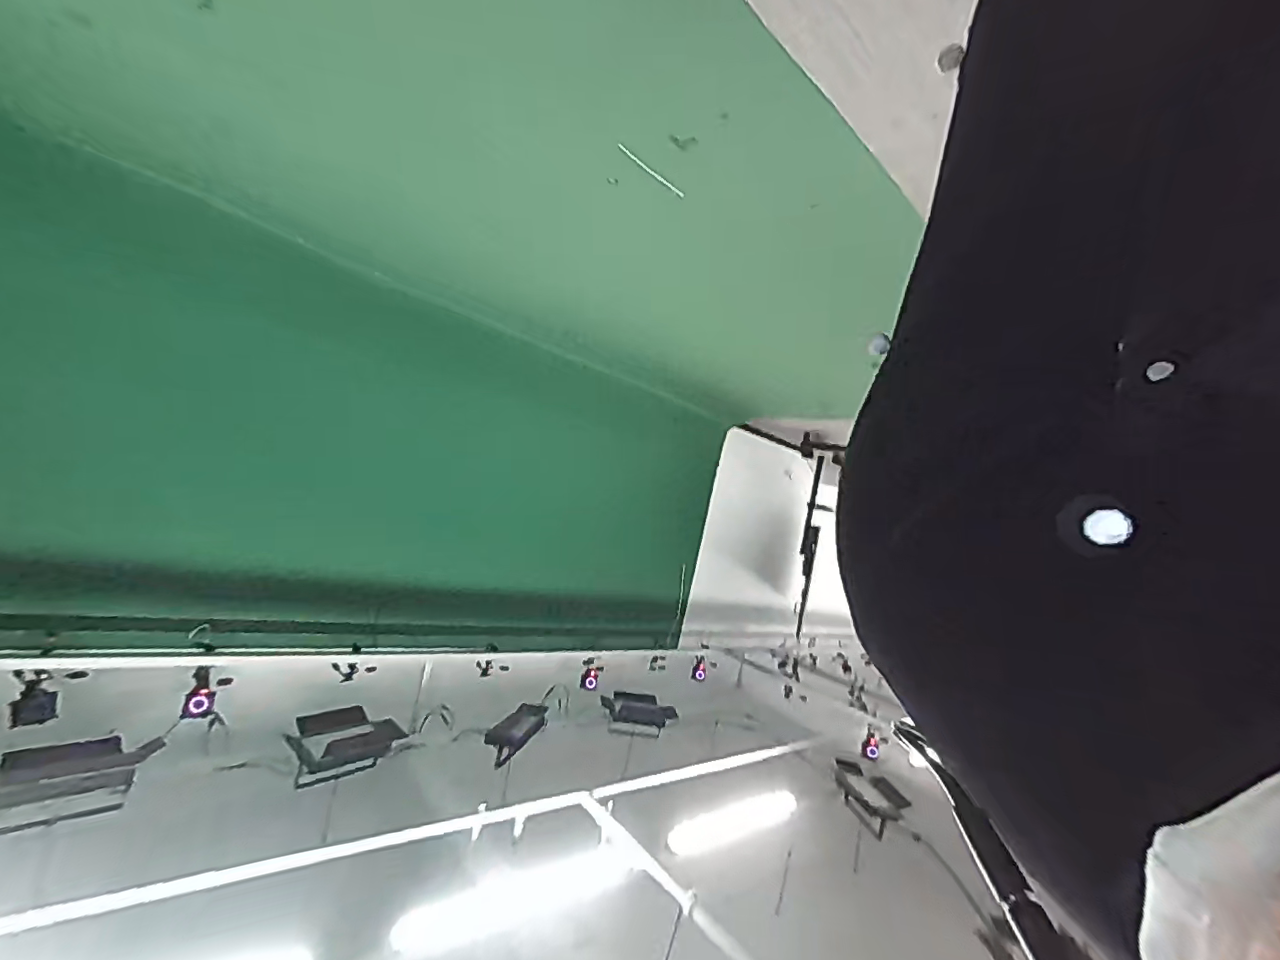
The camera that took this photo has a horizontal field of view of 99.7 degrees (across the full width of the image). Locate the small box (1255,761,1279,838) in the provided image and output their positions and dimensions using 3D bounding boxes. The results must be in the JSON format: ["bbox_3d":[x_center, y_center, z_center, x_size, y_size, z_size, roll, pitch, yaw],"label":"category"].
[{"bbox_3d":[1.785,0.878,1.434,0.168,0.176,0.179,15,179,-36],"label":"small box"}]
